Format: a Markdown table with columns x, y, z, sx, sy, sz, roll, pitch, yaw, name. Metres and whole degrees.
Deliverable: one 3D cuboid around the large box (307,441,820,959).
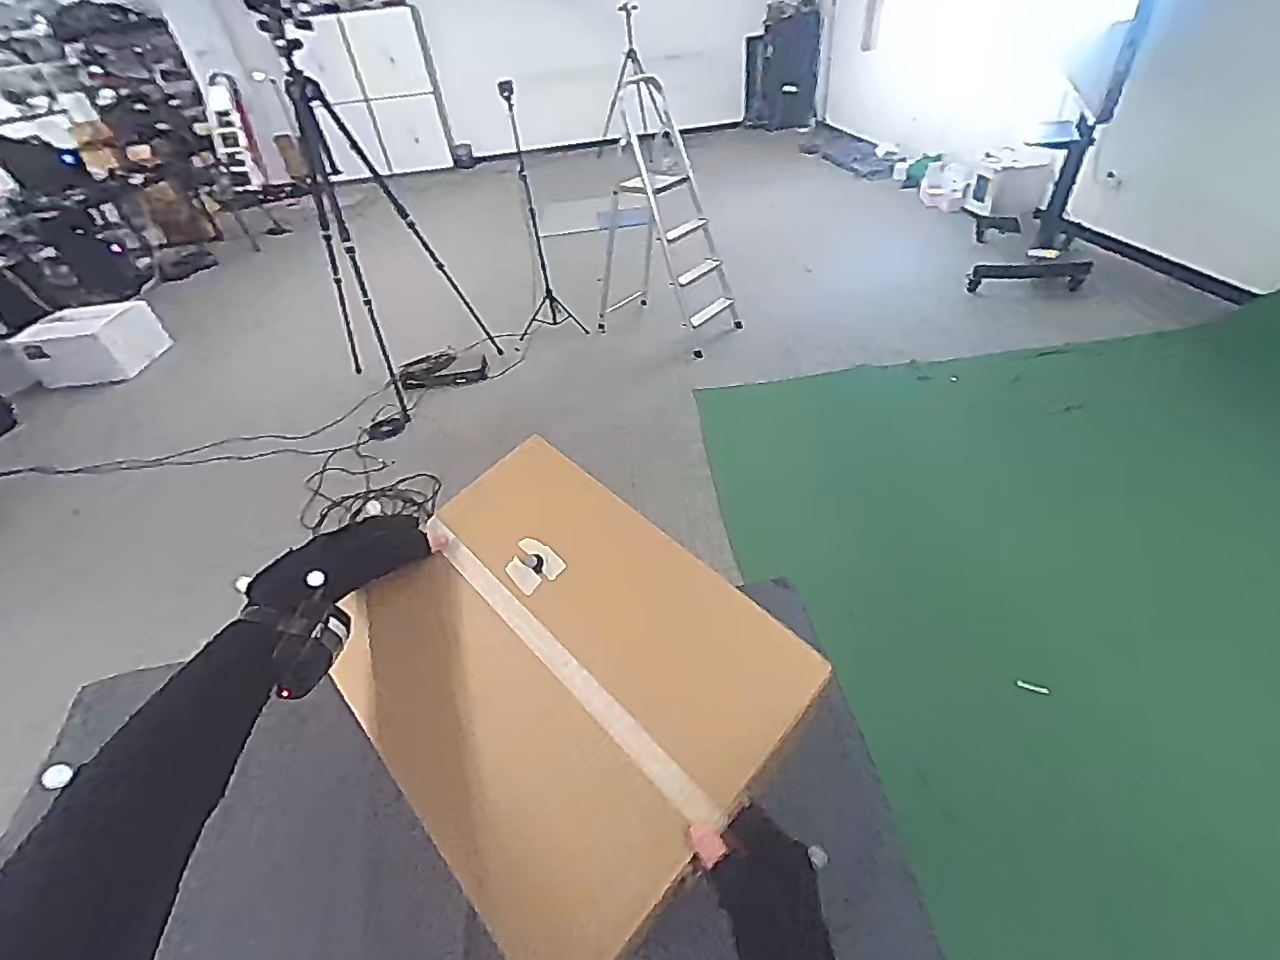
| x | y | z | sx | sy | sz | roll | pitch | yaw | name |
| --- | --- | --- | --- | --- | --- | --- | --- | --- | --- |
| -0.064 | 0.231 | 0.615 | 0.408 | 0.320 | 0.320 | 34 | 67 | 29 | large box |
